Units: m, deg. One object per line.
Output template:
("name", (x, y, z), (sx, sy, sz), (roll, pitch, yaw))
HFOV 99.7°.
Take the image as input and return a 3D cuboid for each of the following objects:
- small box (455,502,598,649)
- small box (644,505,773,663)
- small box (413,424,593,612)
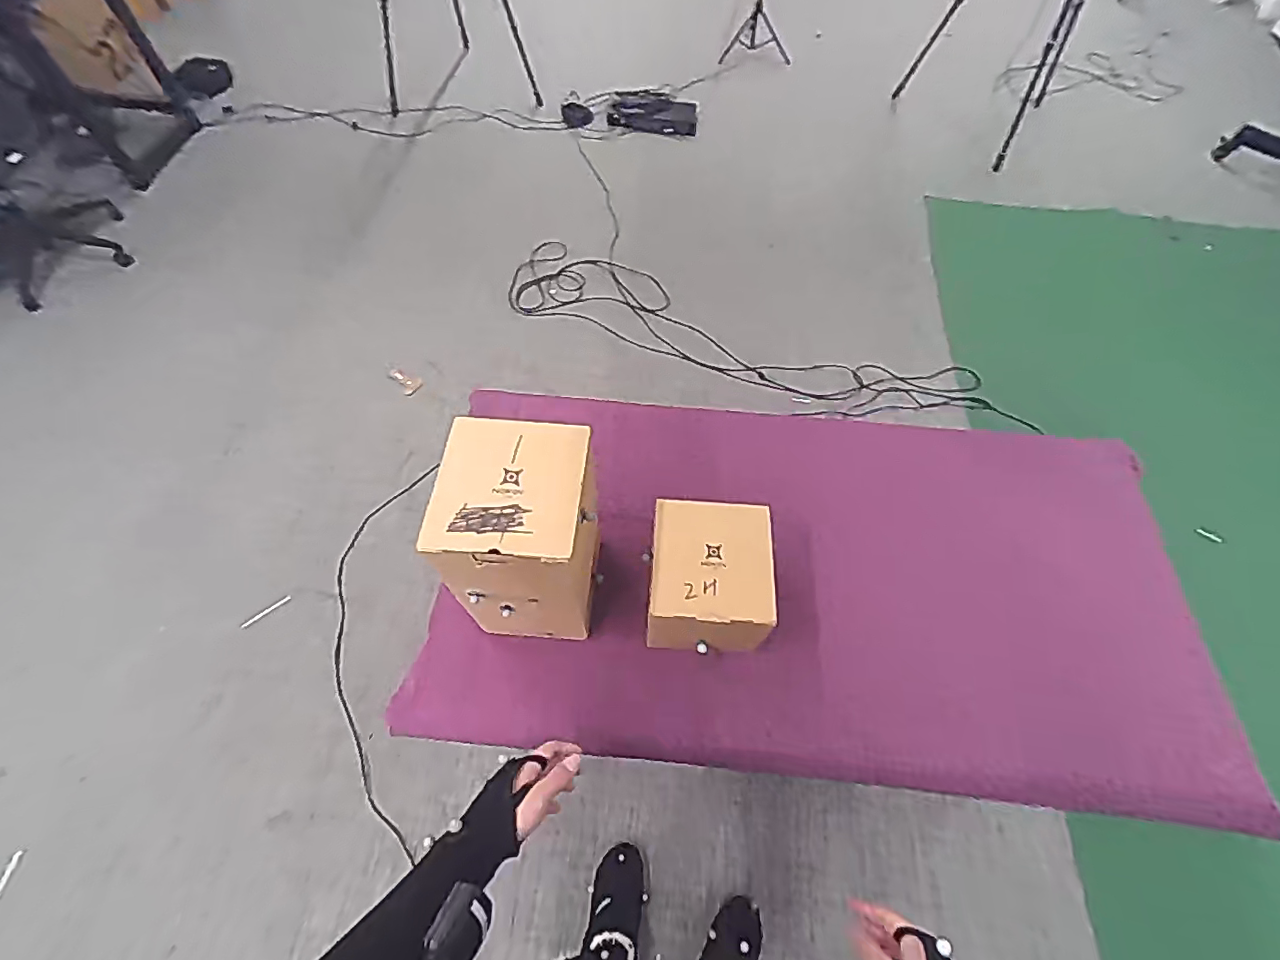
("small box", (-0.155, 0.139, 0.813), (0.168, 0.176, 0.179), (4, 58, 2))
("small box", (0.095, 0.158, 0.805), (0.168, 0.176, 0.179), (4, 59, 2))
("small box", (-0.151, 0.054, 0.672), (0.168, 0.176, 0.179), (5, 58, 1))
